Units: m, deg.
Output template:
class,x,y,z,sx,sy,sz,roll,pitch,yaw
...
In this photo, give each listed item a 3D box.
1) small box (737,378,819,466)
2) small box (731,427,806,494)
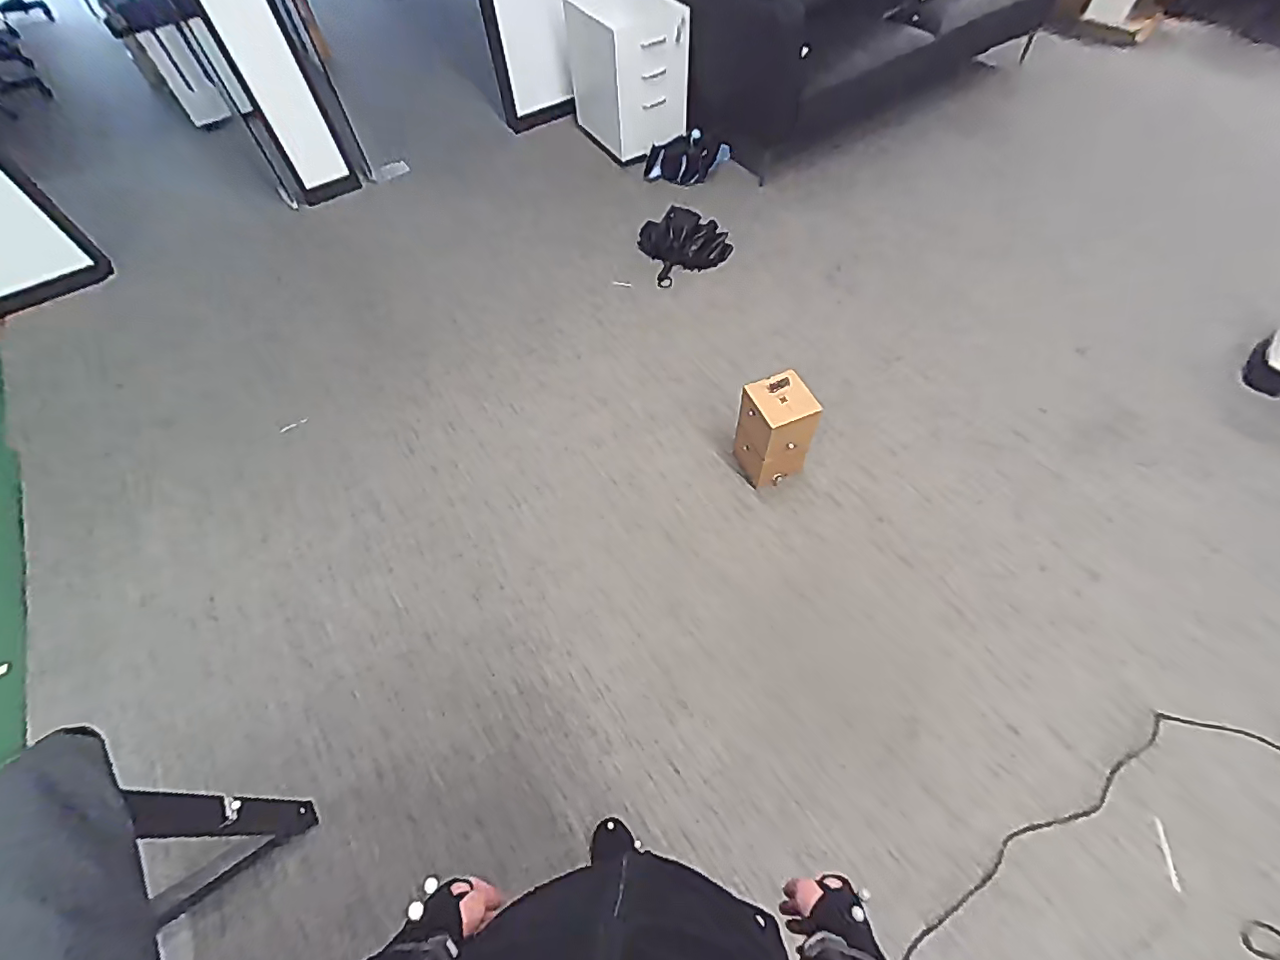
class,x,y,z,sx,sy,sz,roll,pitch,yaw
small box,0.410,-0.174,1.643,0.168,0.176,0.179,-20,59,-9
small box,0.415,-0.085,1.782,0.168,0.176,0.179,-21,60,-10
